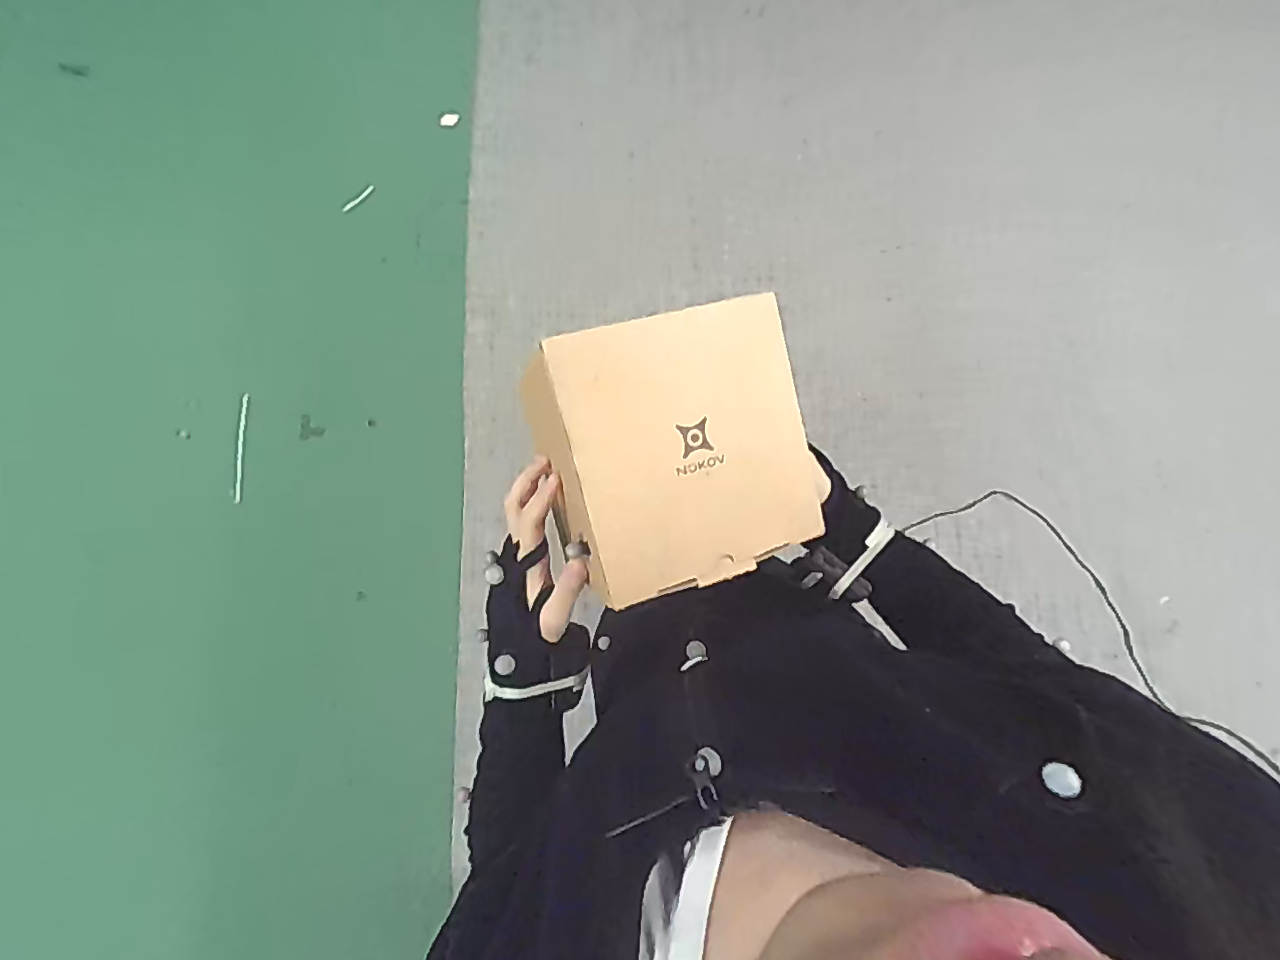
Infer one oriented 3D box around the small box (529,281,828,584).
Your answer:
[{"bbox_3d":[0.017,-0.038,0.436,0.168,0.176,0.179,-16,98,-17],"label":"small box"}]
